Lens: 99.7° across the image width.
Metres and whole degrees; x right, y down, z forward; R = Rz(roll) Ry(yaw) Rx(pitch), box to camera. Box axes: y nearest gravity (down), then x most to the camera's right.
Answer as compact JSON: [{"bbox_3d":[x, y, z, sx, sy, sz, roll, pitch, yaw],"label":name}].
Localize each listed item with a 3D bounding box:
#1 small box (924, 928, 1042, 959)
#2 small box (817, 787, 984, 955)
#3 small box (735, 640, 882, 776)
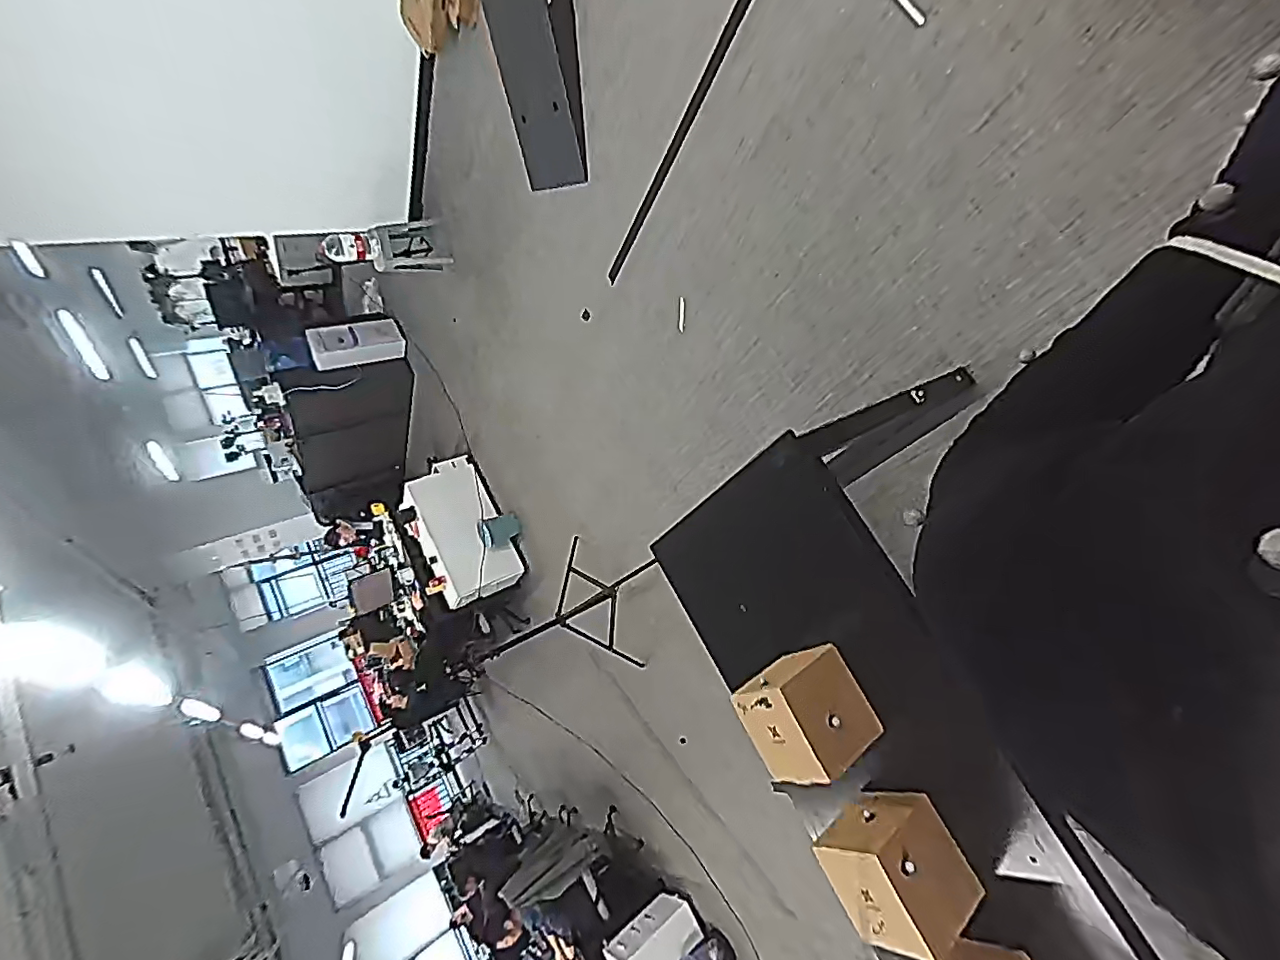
[{"bbox_3d":[0.598,0.908,0.913,0.168,0.176,0.179,59,145,15],"label":"small box"},{"bbox_3d":[0.467,0.684,0.975,0.179,0.176,0.168,60,147,14],"label":"small box"},{"bbox_3d":[0.325,0.437,1.044,0.179,0.176,0.168,60,146,12],"label":"small box"}]
